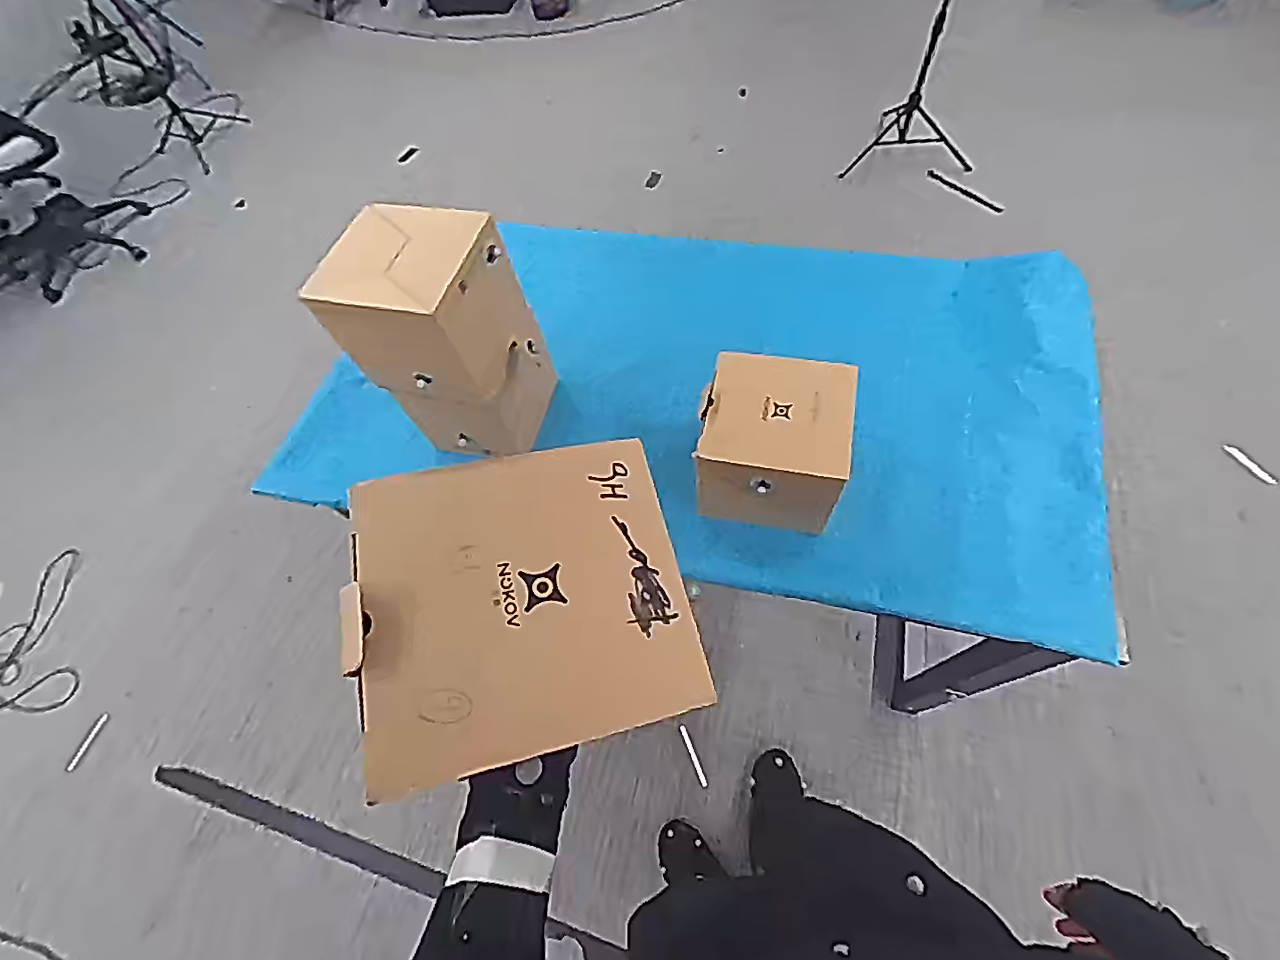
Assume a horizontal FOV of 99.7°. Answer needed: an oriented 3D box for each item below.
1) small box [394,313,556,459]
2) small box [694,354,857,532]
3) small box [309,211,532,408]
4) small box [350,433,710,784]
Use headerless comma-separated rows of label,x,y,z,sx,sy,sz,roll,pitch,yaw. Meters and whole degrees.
small box,-0.245,-0.148,0.840,0.168,0.176,0.179,11,66,15
small box,0.176,-0.044,0.722,0.179,0.176,0.168,9,64,13
small box,-0.266,-0.215,0.688,0.179,0.176,0.168,11,64,13
small box,-0.075,0.093,0.374,0.179,0.176,0.168,-13,66,-14
